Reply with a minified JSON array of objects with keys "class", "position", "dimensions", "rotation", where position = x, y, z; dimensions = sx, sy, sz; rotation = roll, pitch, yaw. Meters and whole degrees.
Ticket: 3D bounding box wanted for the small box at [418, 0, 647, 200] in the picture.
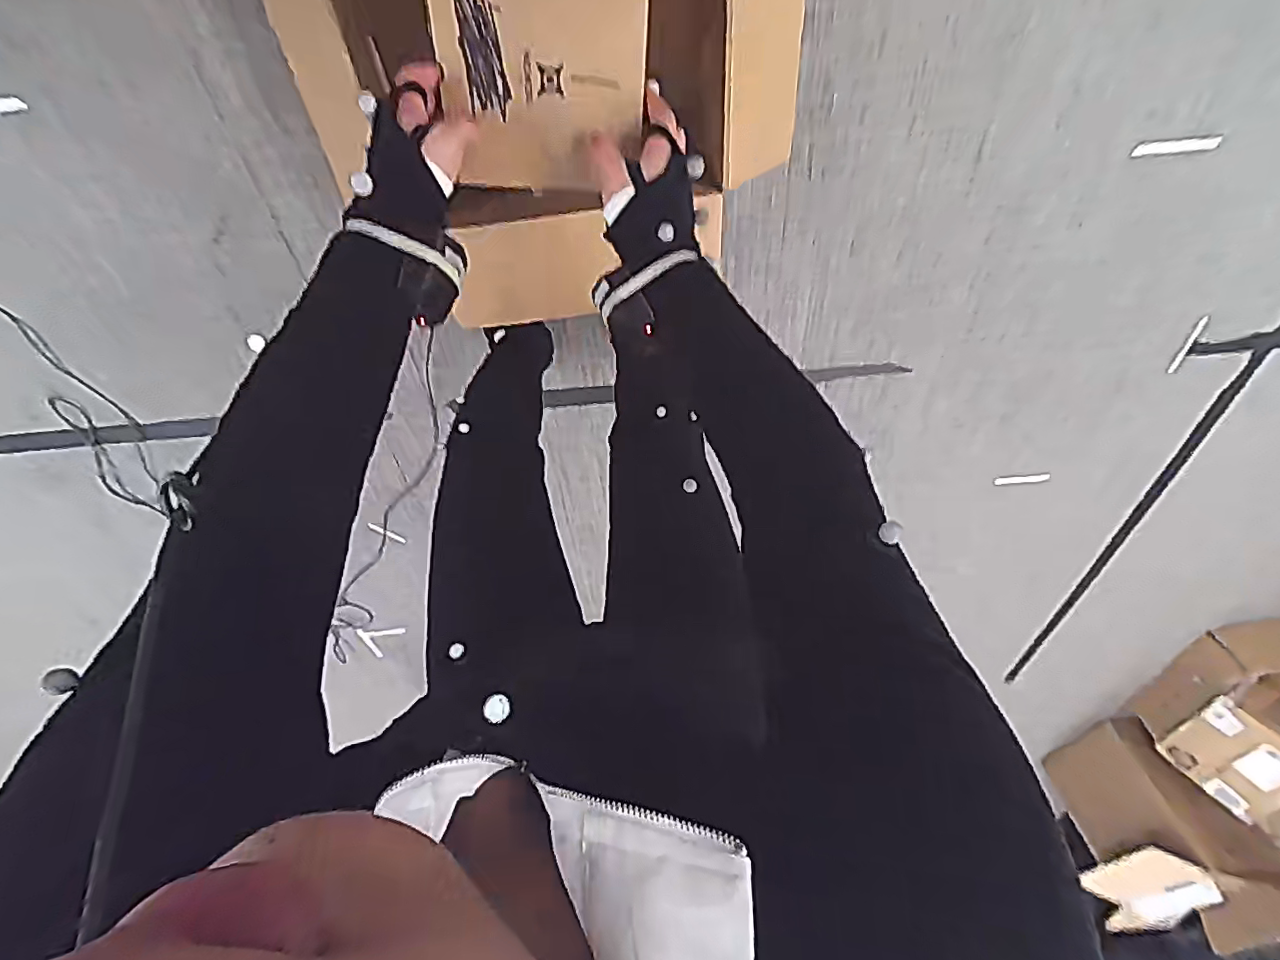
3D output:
[{"class":"small box","position":[-0.087,-0.370,0.502],"dimensions":[0.179,0.176,0.168],"rotation":[2,127,-4]}]
